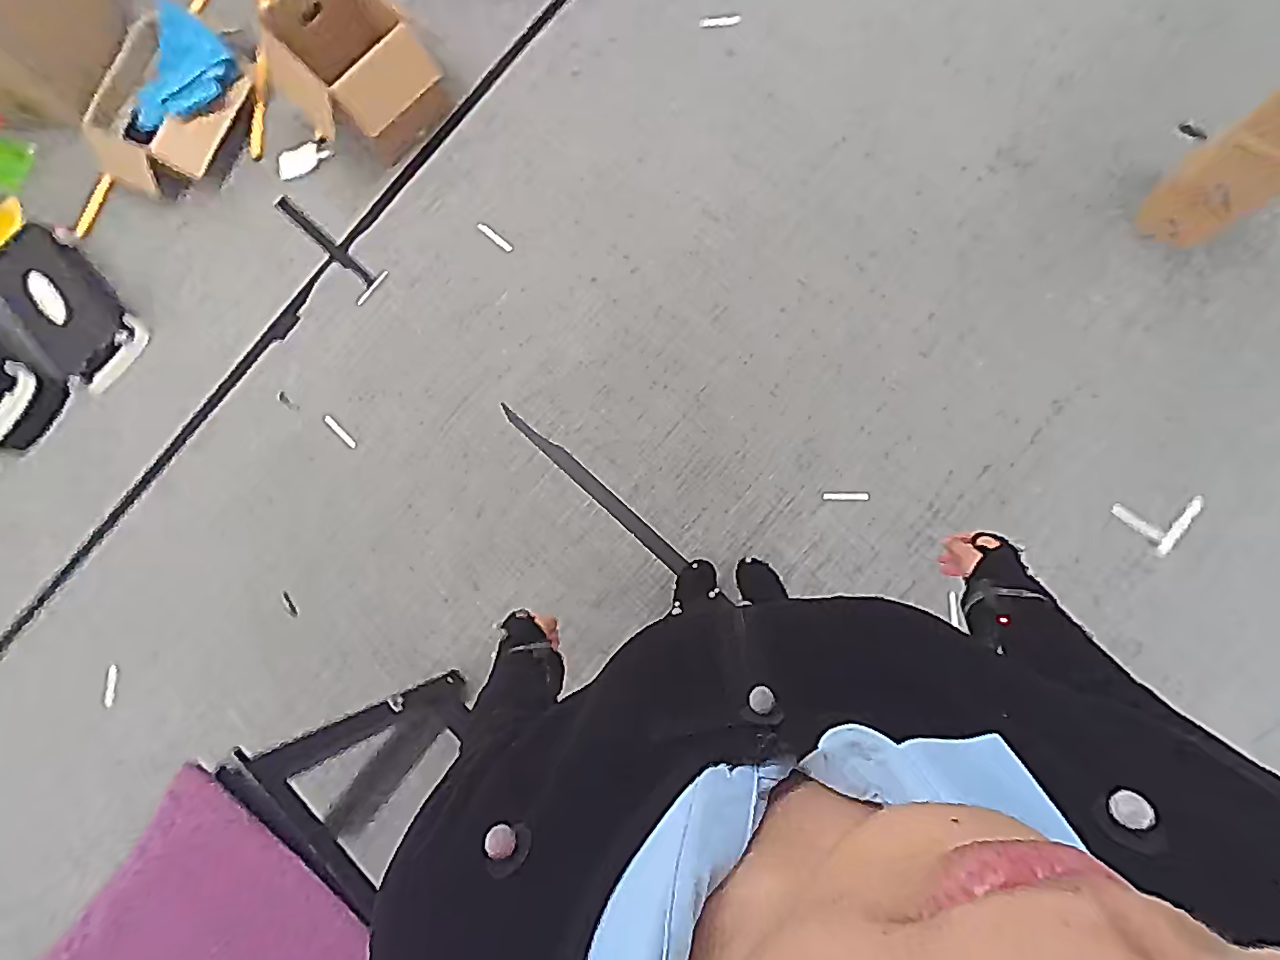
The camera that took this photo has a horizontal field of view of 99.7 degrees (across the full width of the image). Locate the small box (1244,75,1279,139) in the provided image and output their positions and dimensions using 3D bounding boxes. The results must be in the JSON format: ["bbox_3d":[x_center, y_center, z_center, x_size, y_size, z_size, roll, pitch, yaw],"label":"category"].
[{"bbox_3d":[1.377,-0.783,1.055,0.179,0.176,0.168,40,90,12],"label":"small box"}]

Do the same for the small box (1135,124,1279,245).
[{"bbox_3d":[1.434,-0.745,1.377,0.168,0.176,0.179,34,88,12],"label":"small box"}]
